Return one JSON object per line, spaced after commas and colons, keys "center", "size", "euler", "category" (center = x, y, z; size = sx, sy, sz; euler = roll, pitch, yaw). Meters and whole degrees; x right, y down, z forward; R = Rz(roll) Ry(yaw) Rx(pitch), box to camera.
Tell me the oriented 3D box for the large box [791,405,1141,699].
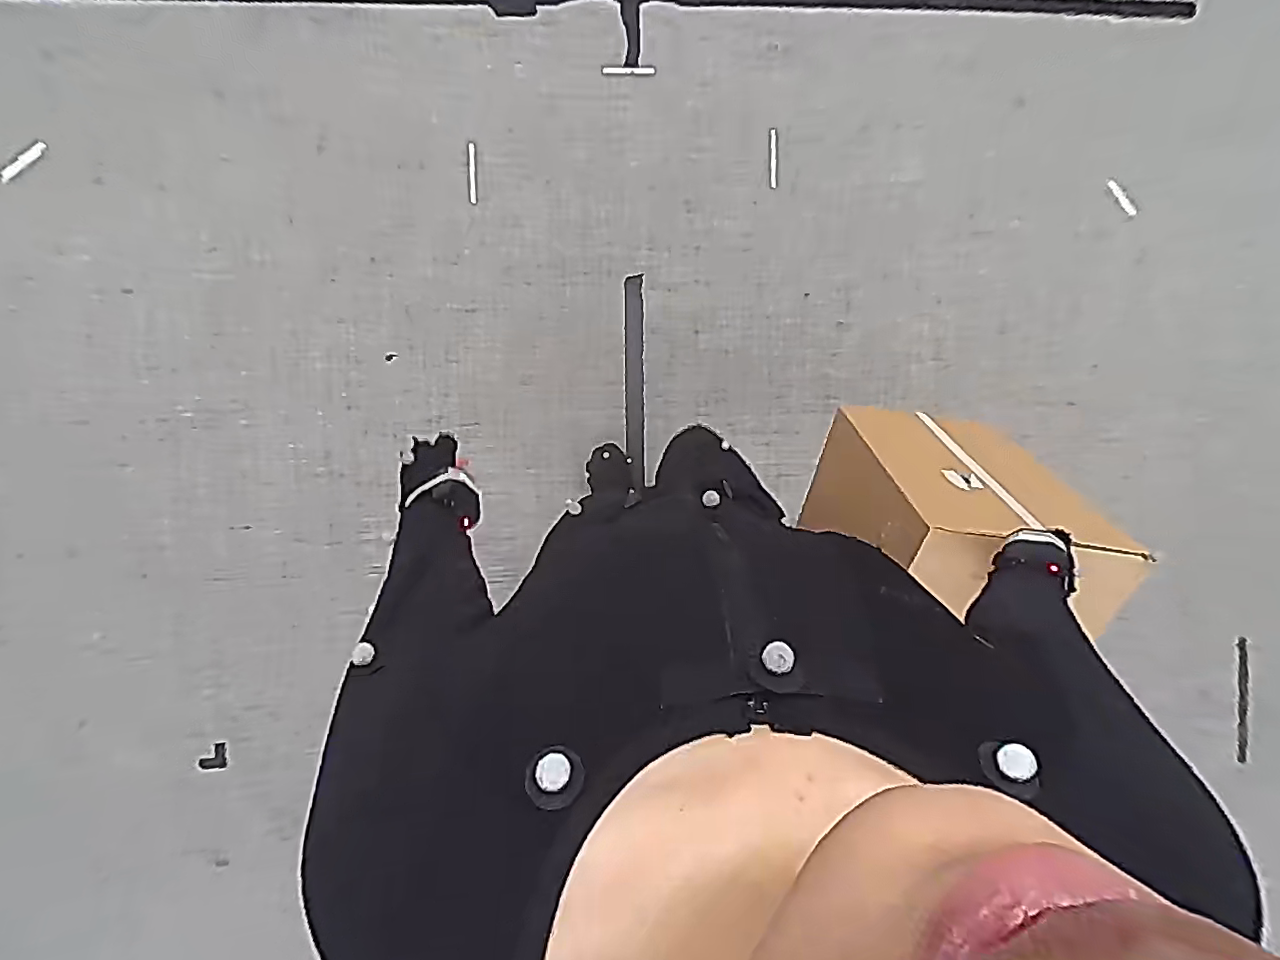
{"center": [0.501, 0.109, 0.959], "size": [0.320, 0.408, 0.320], "euler": [8, 122, -4], "category": "large box"}
